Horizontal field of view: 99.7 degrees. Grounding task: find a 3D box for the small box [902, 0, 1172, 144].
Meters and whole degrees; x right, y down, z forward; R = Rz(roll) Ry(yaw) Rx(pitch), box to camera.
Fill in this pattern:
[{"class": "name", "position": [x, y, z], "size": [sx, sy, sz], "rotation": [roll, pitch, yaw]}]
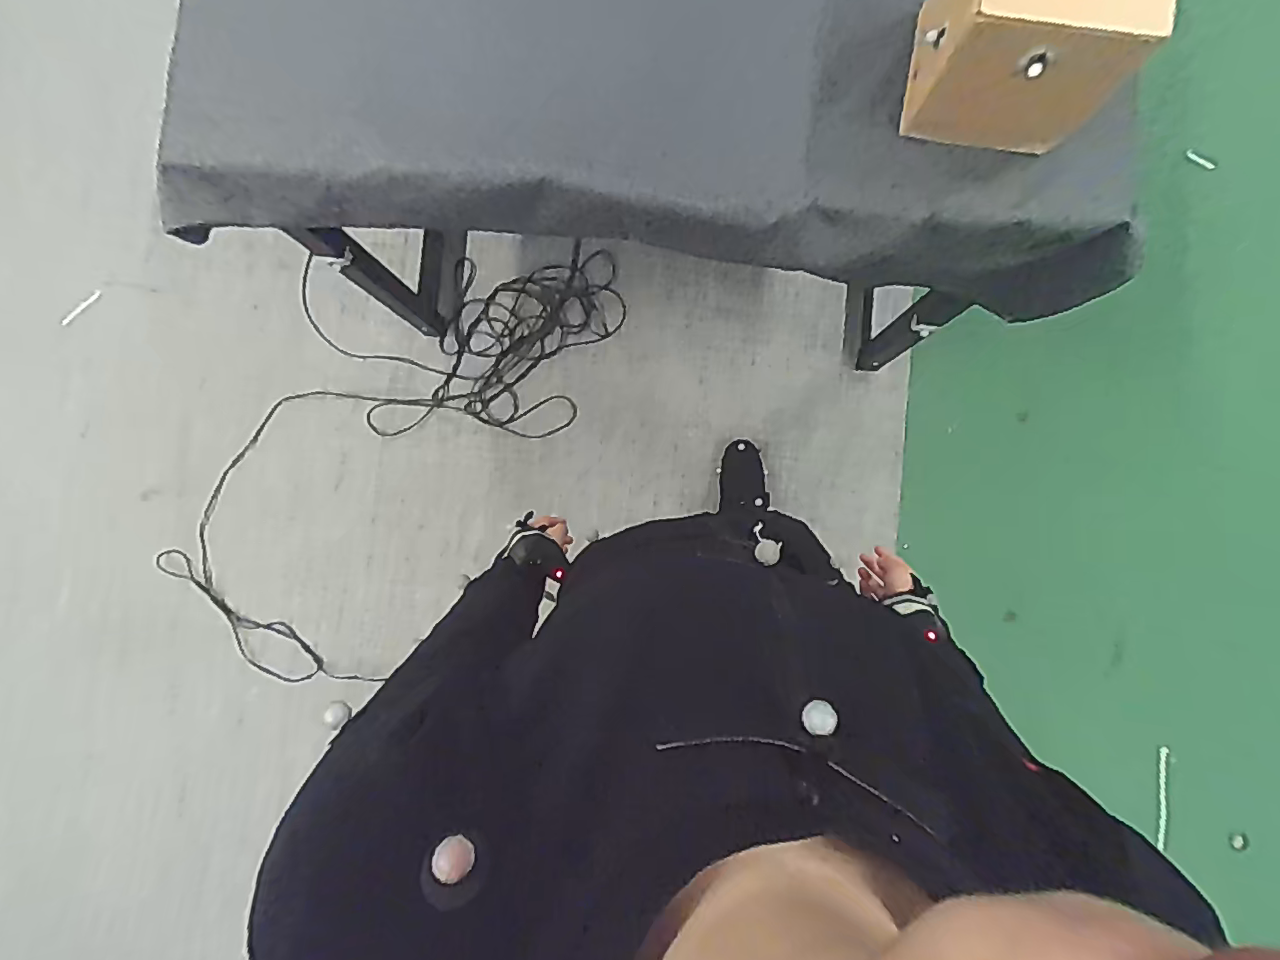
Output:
[{"class": "small box", "position": [0.406, -0.492, 0.572], "size": [0.179, 0.176, 0.168], "rotation": [10, 88, 3]}]
